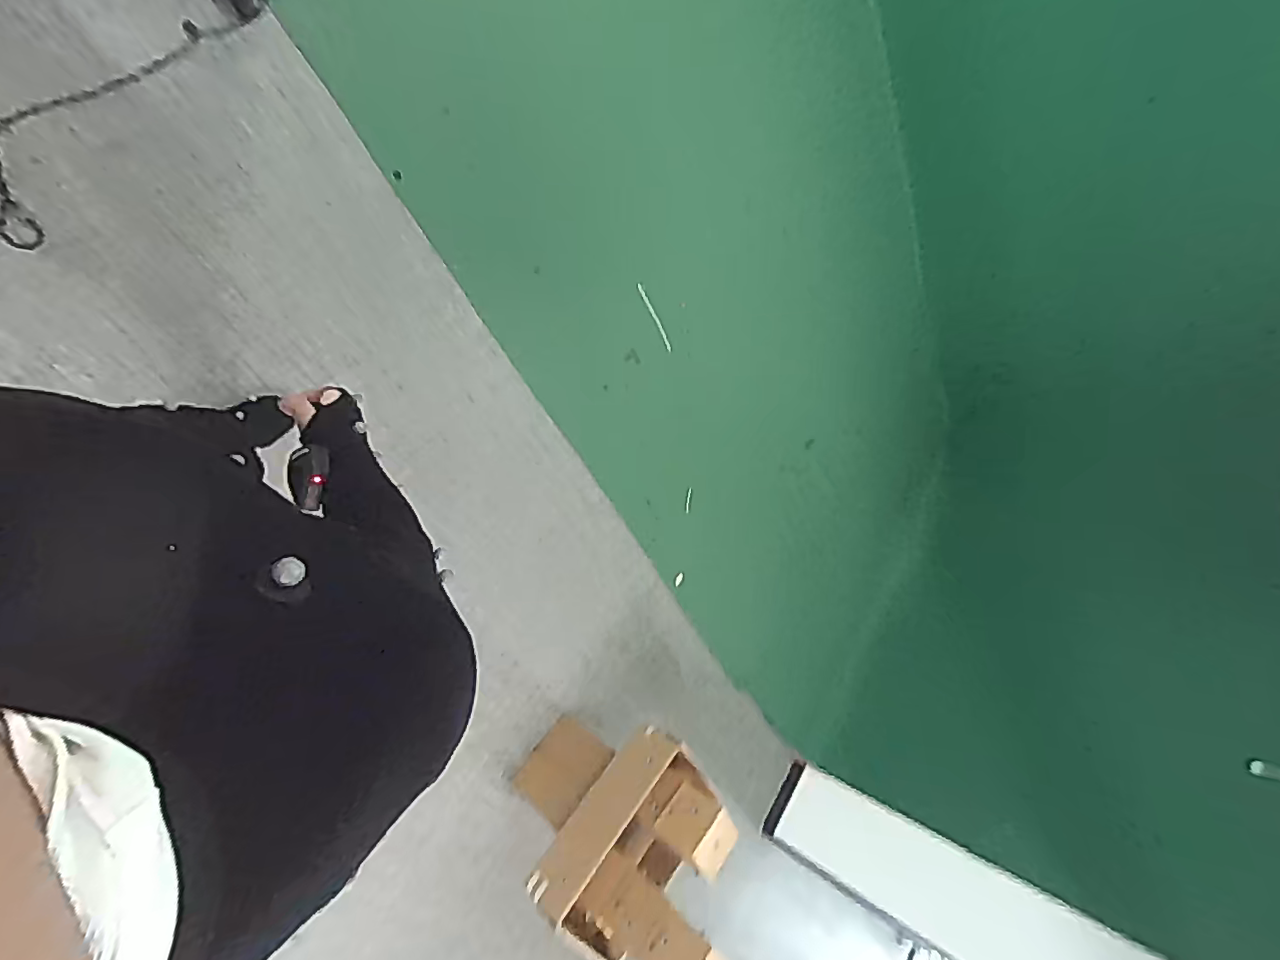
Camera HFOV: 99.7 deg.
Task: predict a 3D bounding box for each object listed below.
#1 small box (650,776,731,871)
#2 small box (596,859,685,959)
[{"bbox_3d":[0.160,1.086,1.728,0.168,0.176,0.179,-42,123,-30],"label":"small box"},{"bbox_3d":[-0.002,1.280,1.610,0.168,0.176,0.179,-44,124,-27],"label":"small box"}]
